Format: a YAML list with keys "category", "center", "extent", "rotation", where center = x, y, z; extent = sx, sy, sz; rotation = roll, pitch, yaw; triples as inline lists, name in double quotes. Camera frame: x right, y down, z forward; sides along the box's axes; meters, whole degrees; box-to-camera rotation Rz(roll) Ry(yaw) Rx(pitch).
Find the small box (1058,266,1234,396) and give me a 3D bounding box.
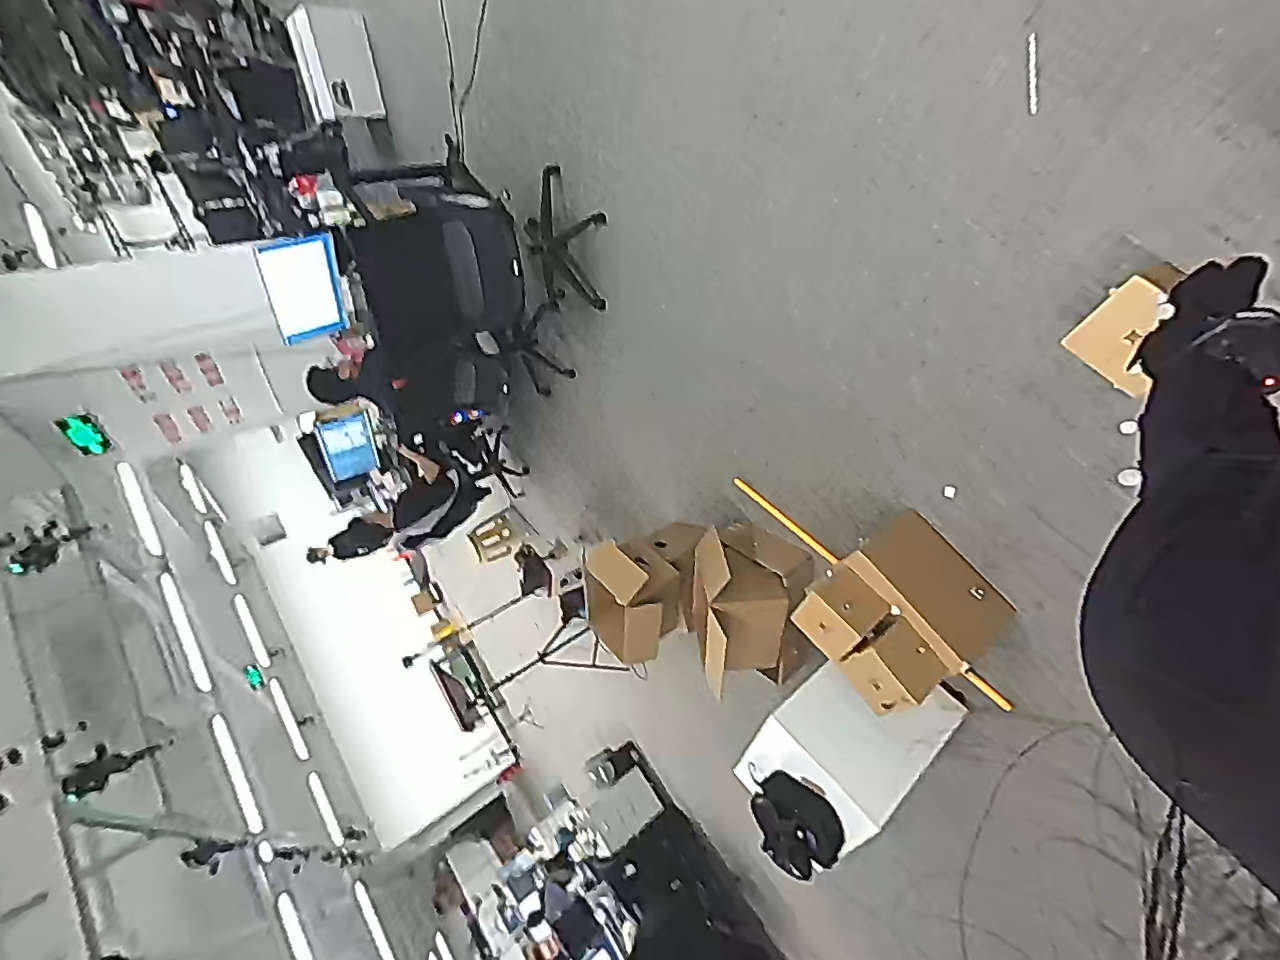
- category: "small box"
  center: [0.990, -0.298, 1.062]
  extent: [0.179, 0.176, 0.168]
  rotation: [50, 146, 20]
